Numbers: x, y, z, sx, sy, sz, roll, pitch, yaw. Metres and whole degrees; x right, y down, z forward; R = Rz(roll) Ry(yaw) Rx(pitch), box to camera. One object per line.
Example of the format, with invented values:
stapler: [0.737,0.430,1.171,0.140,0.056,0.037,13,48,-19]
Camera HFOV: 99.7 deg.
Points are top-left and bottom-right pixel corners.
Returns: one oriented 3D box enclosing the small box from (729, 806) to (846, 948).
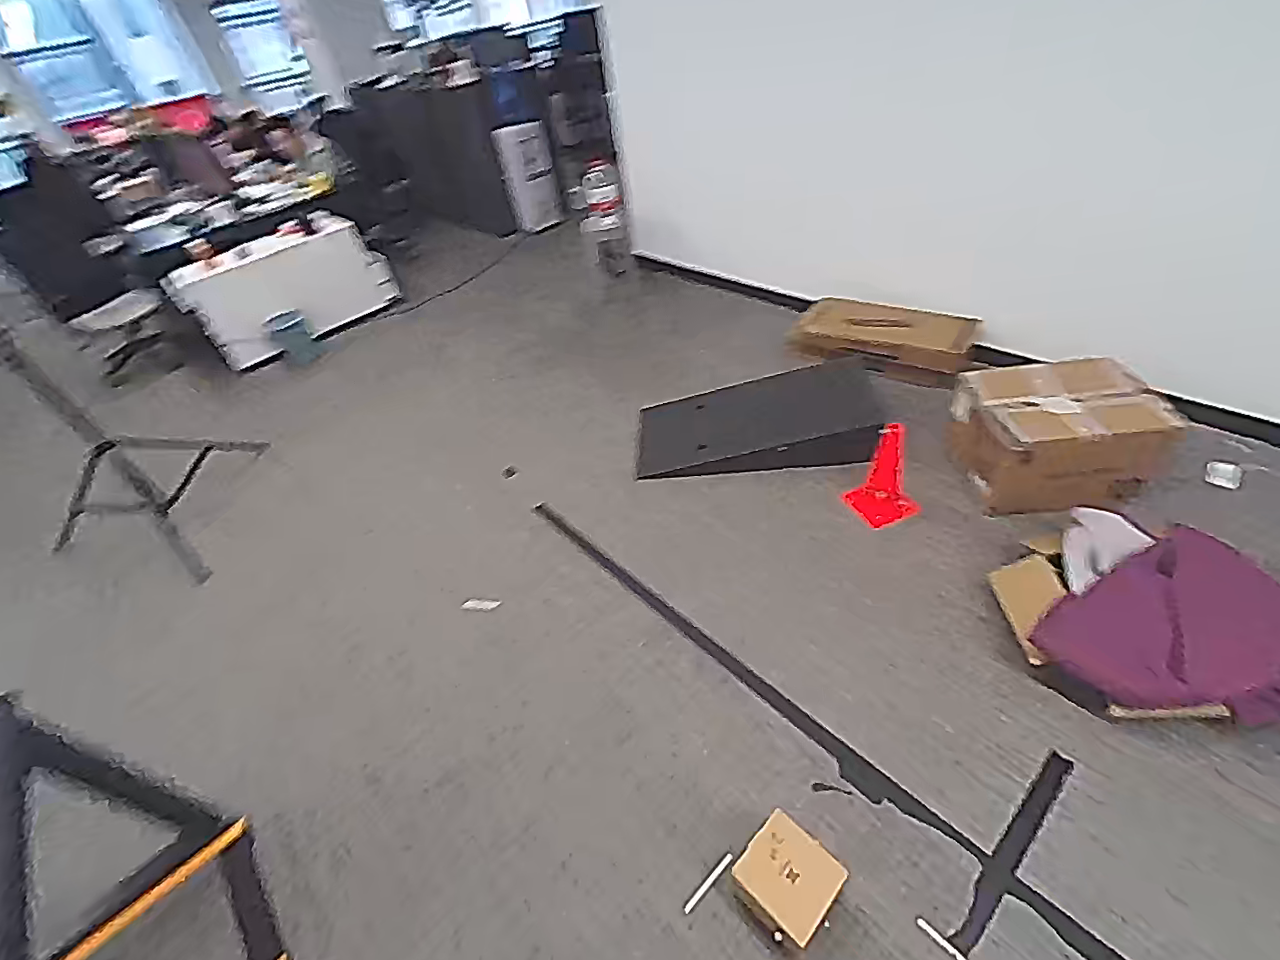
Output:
small box: [0.310,0.847,1.151,0.168,0.176,0.179,-37,48,-26]
